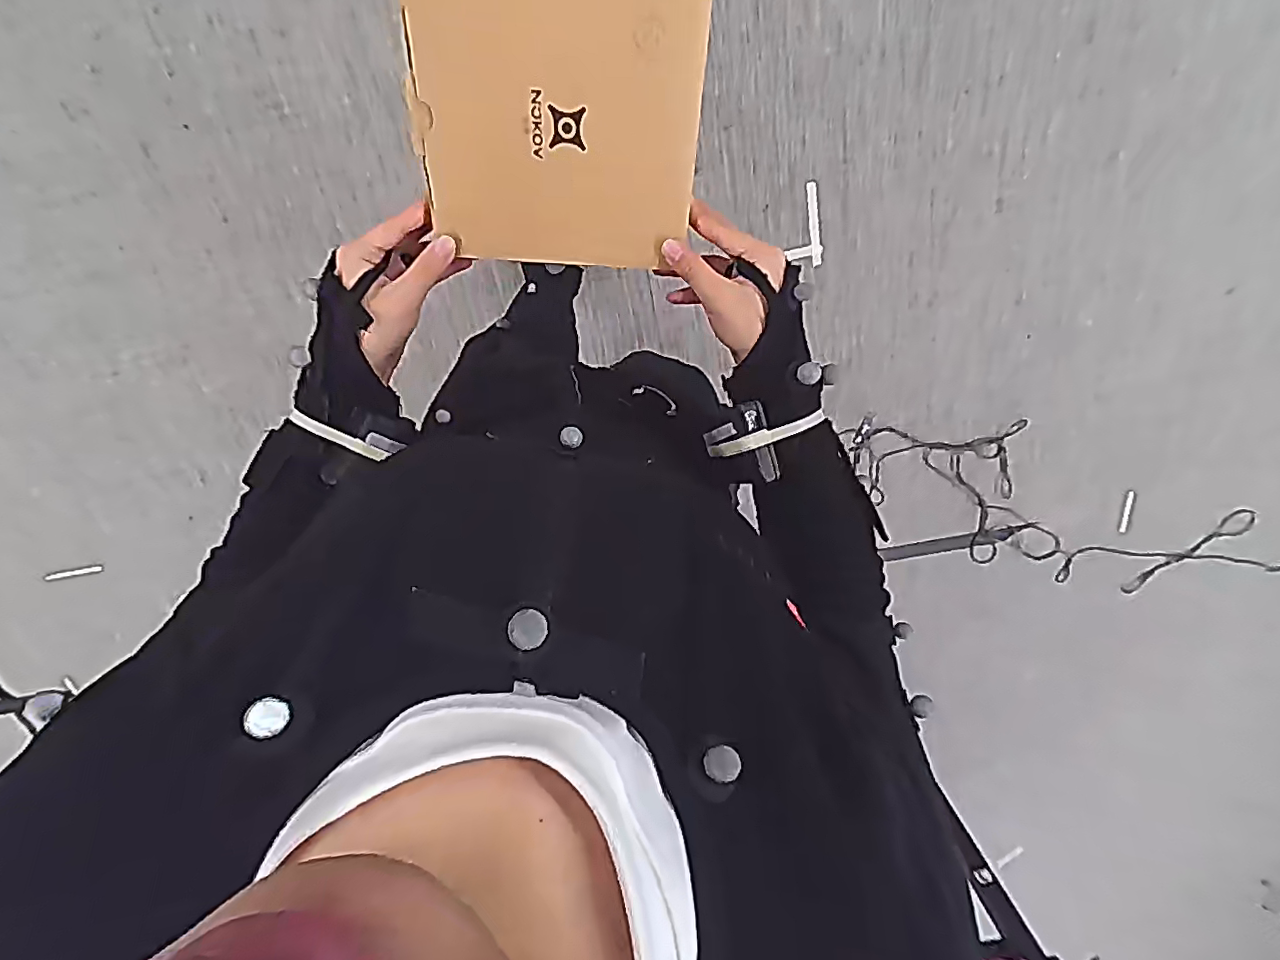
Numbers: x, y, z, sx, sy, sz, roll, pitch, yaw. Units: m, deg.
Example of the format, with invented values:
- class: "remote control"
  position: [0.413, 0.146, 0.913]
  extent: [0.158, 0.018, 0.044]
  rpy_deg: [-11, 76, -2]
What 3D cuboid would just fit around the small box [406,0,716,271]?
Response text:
- class: "small box"
  position: [-0.053, -0.269, 0.404]
  extent: [0.179, 0.176, 0.168]
  rpy_deg: [3, 126, -4]
